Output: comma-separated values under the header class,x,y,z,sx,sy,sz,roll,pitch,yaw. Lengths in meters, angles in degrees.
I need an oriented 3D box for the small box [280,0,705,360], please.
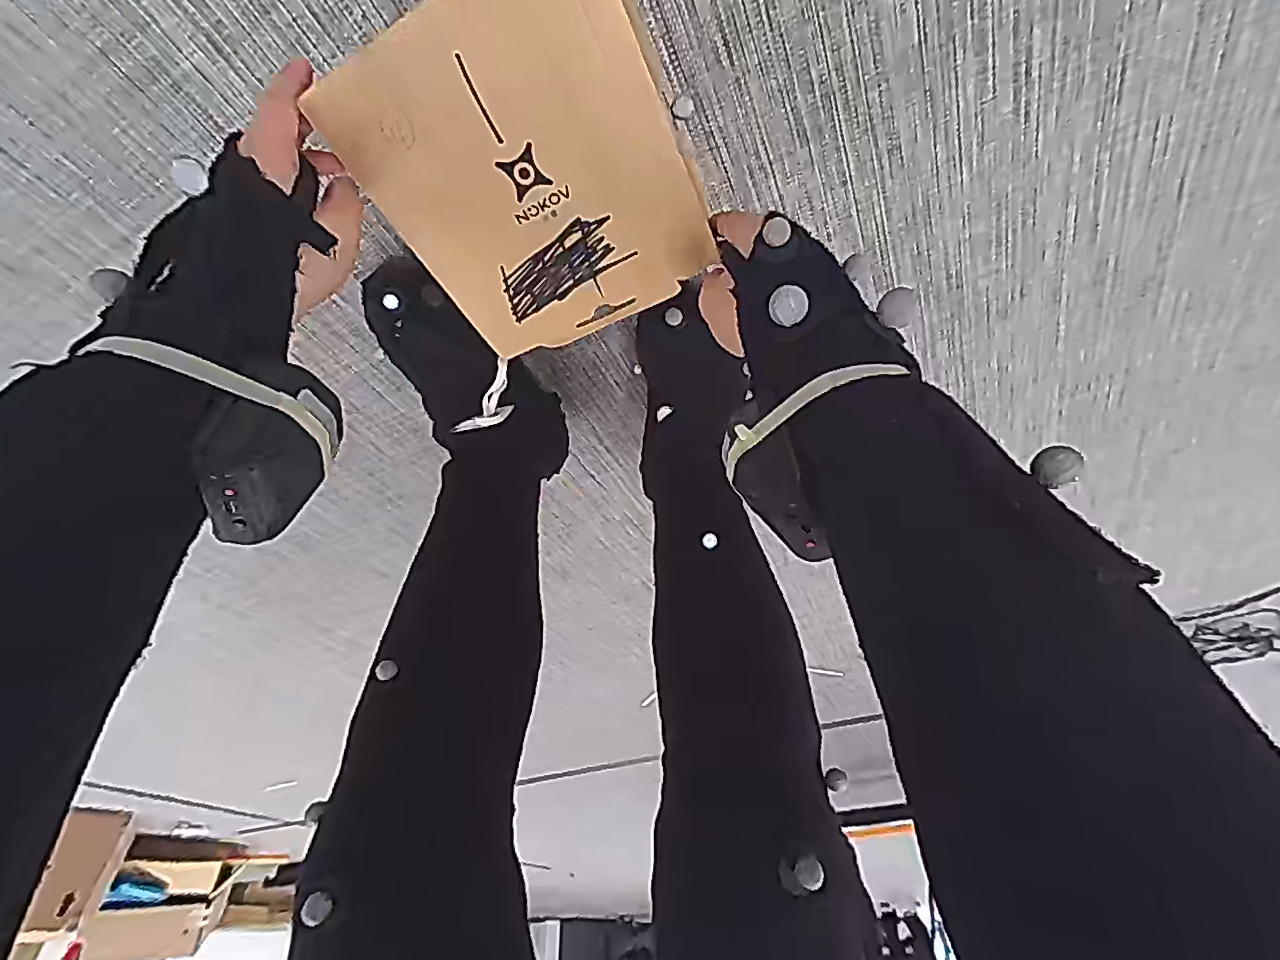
class,x,y,z,sx,sy,sz,roll,pitch,yaw
small box,-0.070,-0.218,0.351,0.168,0.176,0.179,-20,133,17
